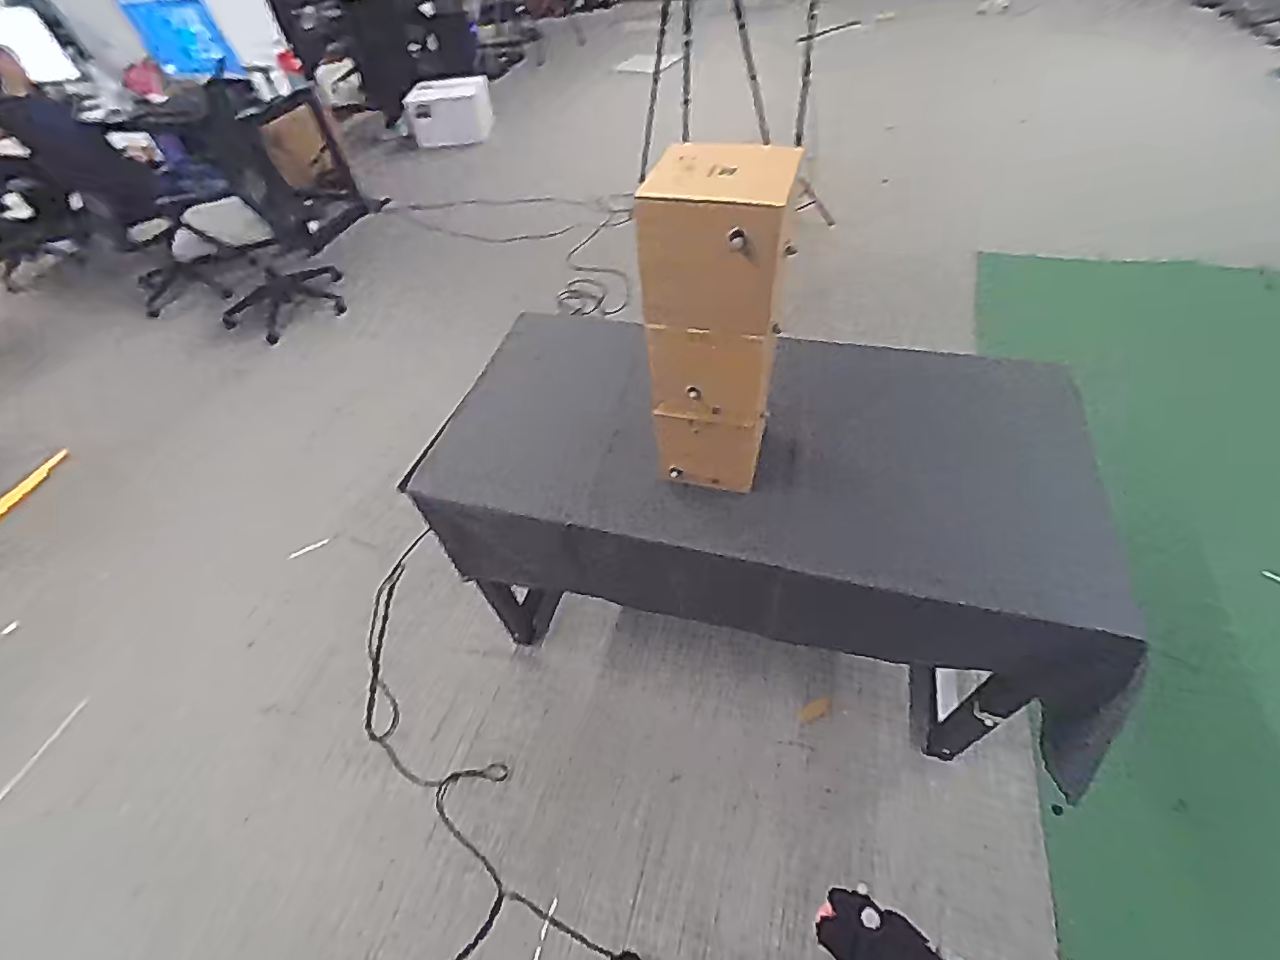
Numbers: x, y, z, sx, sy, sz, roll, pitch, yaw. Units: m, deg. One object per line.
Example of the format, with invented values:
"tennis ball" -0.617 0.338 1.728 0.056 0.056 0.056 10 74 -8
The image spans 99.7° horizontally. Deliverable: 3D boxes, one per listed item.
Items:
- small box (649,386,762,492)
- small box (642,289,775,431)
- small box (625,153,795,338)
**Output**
"small box" 0.123 -0.100 0.968 0.168 0.176 0.179 9 50 14
"small box" 0.109 -0.204 0.845 0.168 0.176 0.179 10 52 14
"small box" 0.095 -0.309 0.718 0.179 0.176 0.168 11 52 15
